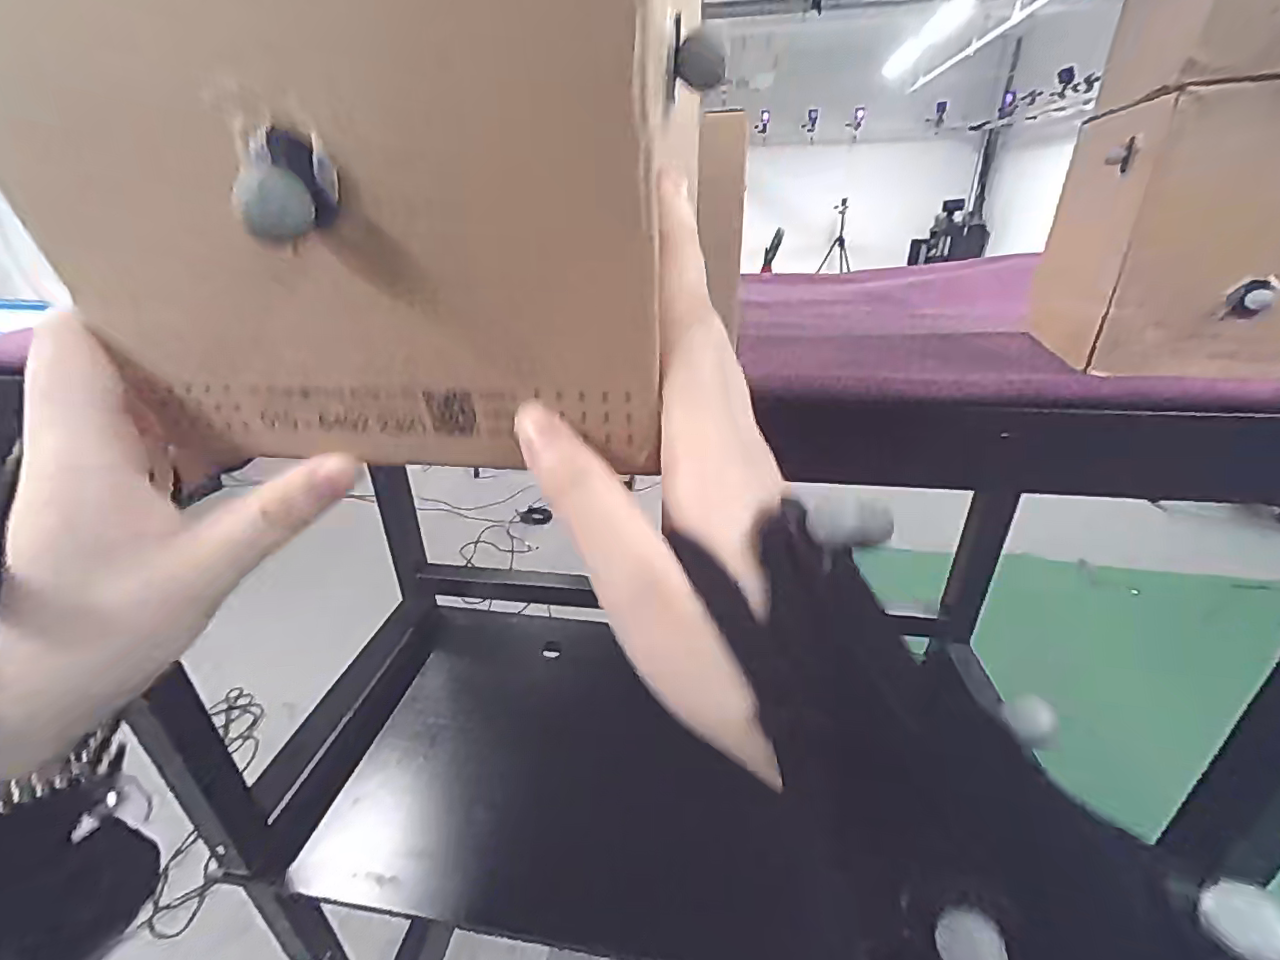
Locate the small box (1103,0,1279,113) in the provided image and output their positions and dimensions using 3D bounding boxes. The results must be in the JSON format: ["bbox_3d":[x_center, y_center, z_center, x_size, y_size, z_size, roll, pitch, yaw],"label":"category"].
[{"bbox_3d":[0.401,-0.305,0.298,0.168,0.176,0.179,9,31,22],"label":"small box"}]

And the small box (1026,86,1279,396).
[{"bbox_3d":[0.405,-0.165,0.379,0.168,0.176,0.179,8,30,18],"label":"small box"}]
